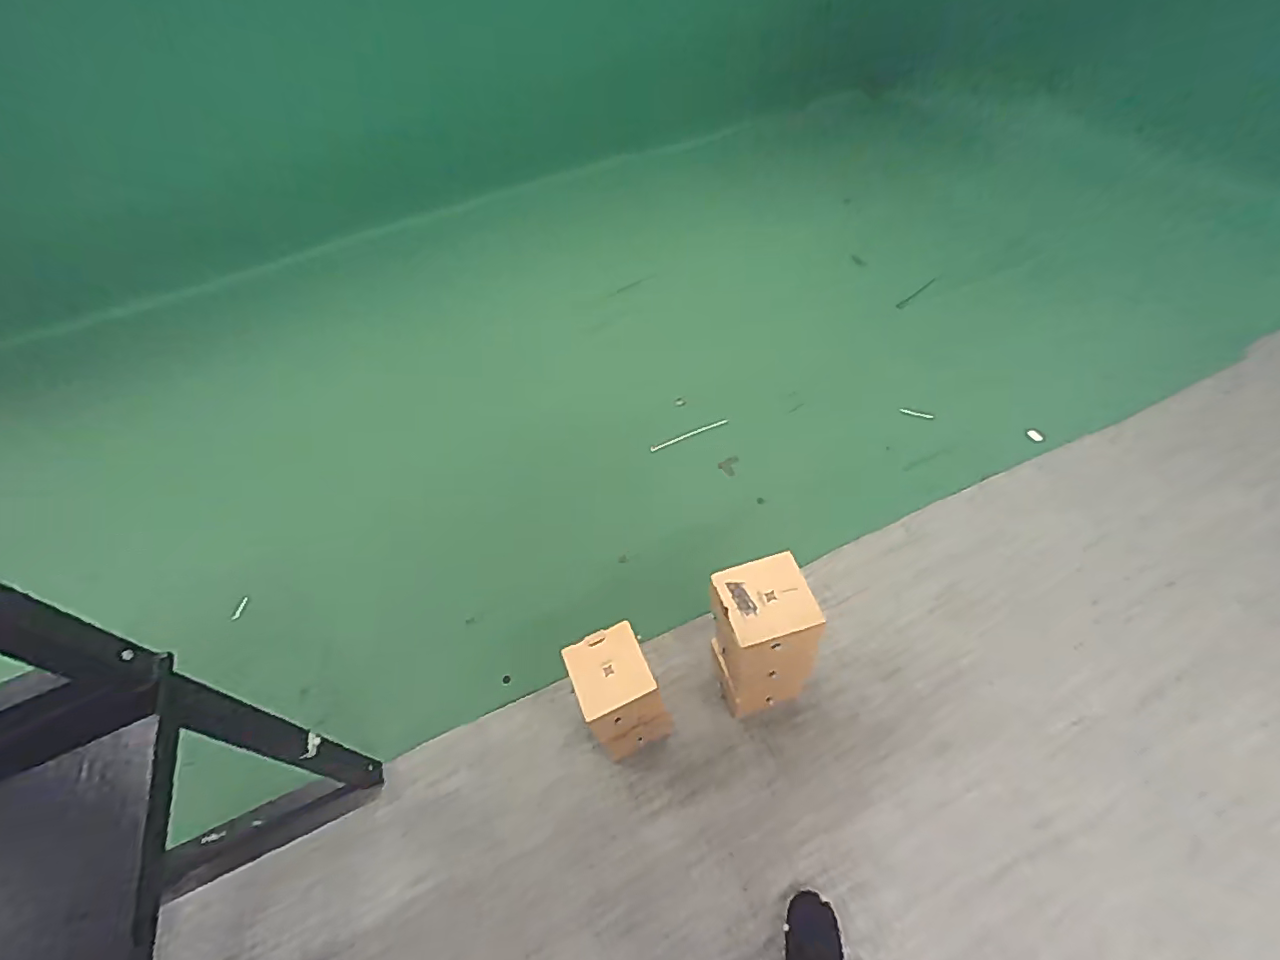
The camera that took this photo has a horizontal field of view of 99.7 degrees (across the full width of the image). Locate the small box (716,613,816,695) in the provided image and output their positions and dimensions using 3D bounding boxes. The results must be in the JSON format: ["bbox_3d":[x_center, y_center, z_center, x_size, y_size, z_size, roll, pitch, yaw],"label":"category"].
[{"bbox_3d":[0.281,0.373,1.239,0.179,0.176,0.168,-14,52,-3],"label":"small box"}]

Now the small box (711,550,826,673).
[{"bbox_3d":[0.256,0.275,1.110,0.179,0.176,0.168,-15,51,-4],"label":"small box"}]

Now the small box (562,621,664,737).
[{"bbox_3d":[-0.057,0.457,1.225,0.168,0.176,0.179,-23,51,-10],"label":"small box"}]
